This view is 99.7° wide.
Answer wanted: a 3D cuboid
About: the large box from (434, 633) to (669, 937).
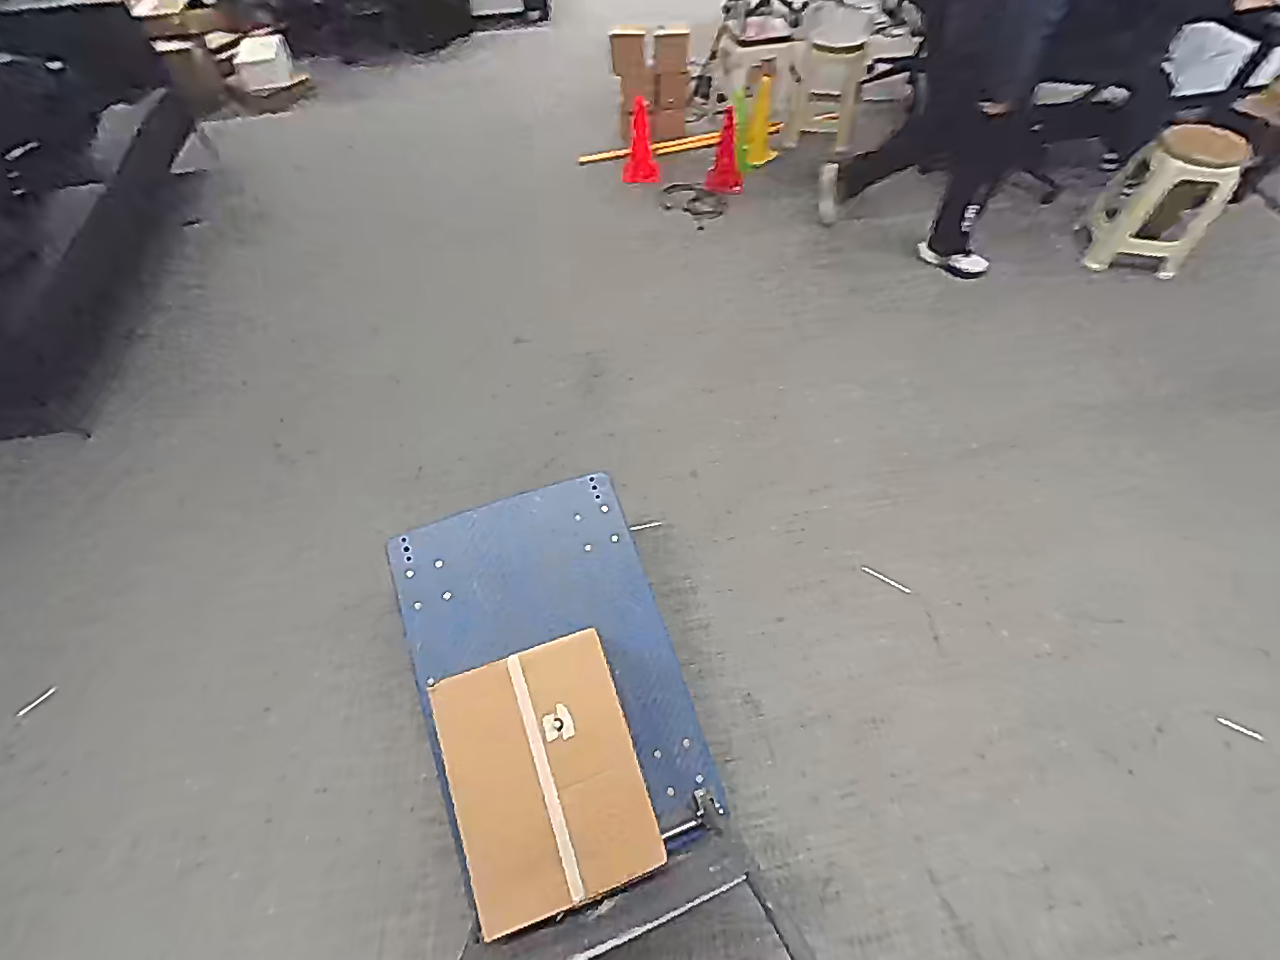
[{"bbox_3d":[-0.167,0.556,1.079,0.320,0.320,0.408,-18,74,-10],"label":"large box"}]
